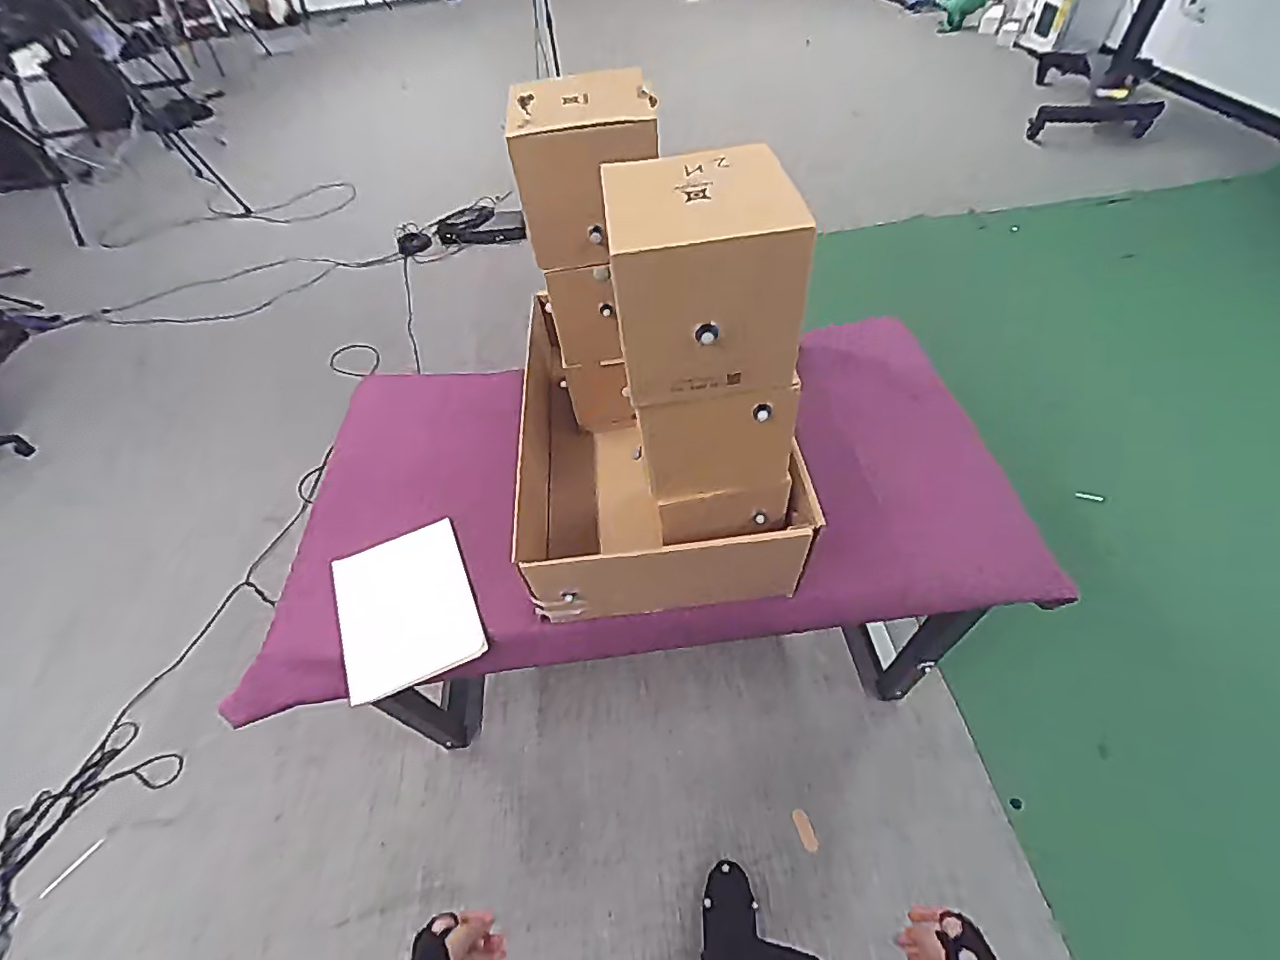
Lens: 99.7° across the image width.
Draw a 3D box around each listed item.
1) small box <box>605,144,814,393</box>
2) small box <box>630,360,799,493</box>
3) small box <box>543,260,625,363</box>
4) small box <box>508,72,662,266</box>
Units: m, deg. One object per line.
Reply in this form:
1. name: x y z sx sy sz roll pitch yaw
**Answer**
1. small box: 0.060 -0.201 0.538 0.168 0.176 0.179 -7 50 1
2. small box: 0.081 -0.099 0.666 0.179 0.176 0.168 -7 50 1
3. small box: -0.051 -0.306 0.847 0.179 0.176 0.168 -9 53 -1
4. small box: -0.066 -0.408 0.719 0.179 0.176 0.168 -6 52 -1
